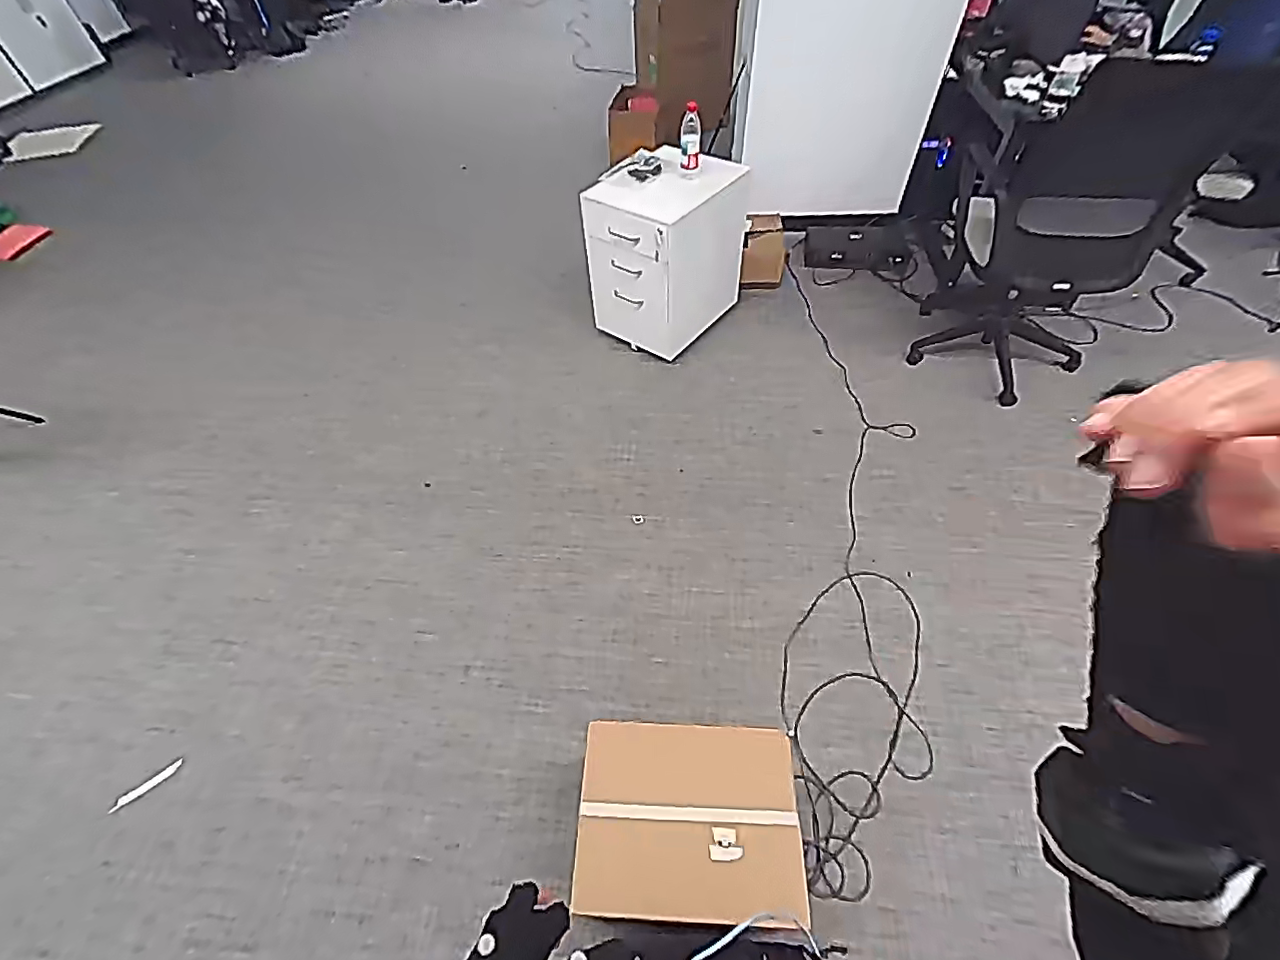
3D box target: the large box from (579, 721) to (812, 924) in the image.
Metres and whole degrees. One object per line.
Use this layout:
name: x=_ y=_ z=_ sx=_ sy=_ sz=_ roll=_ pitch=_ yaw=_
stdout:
large box: x=0.101 y=0.714 z=1.123 sx=0.408 sy=0.320 sz=0.320 roll=1 pitch=51 yaw=3
